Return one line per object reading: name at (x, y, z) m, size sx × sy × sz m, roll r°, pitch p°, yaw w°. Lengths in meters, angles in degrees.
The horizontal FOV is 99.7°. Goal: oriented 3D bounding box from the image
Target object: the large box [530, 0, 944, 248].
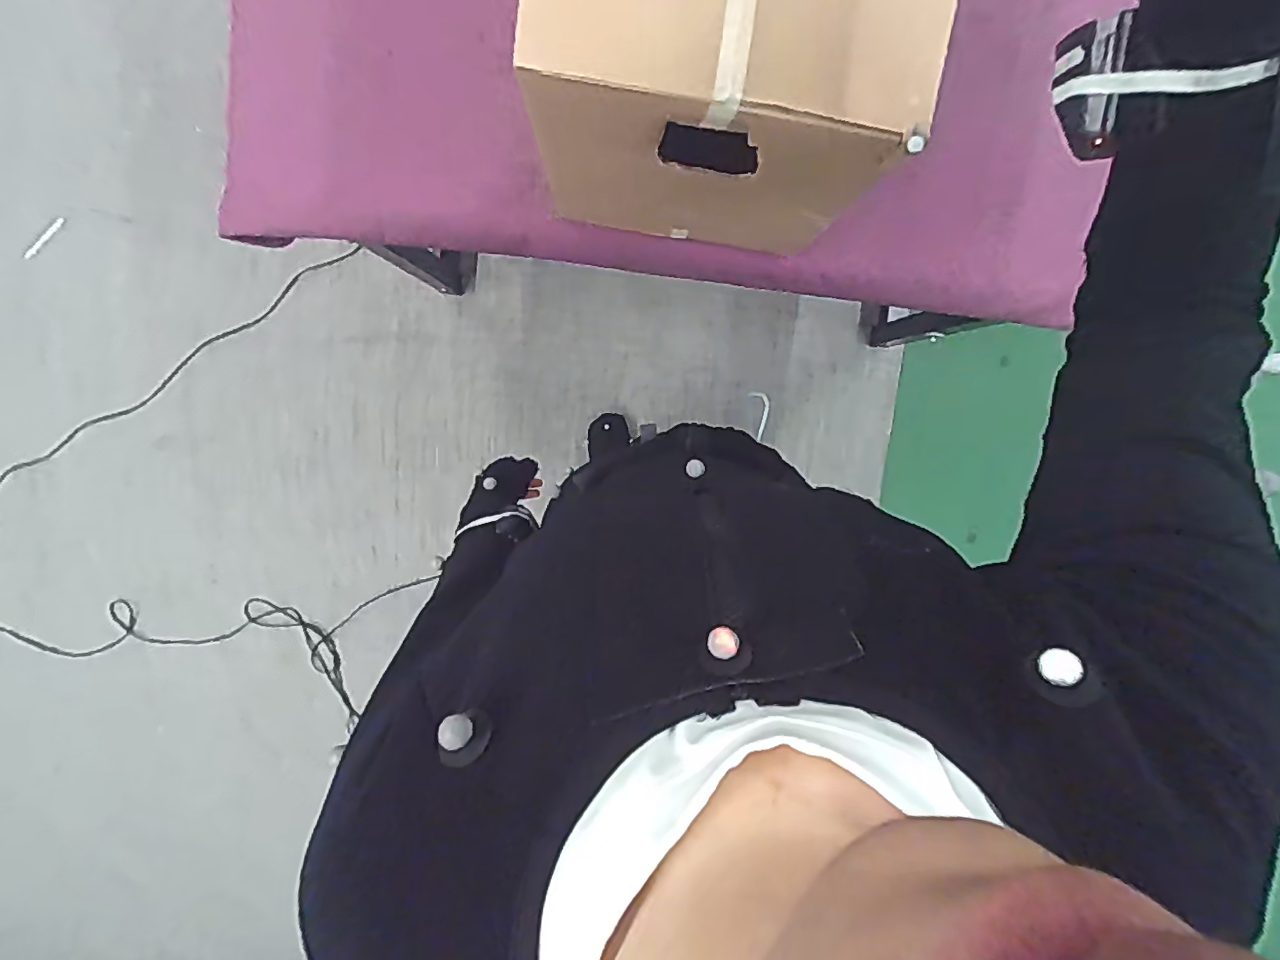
large box at (0.086, -0.499, 0.535) m, size 0.320 × 0.320 × 0.408 m, roll 8°, pitch 98°, yaw -3°
